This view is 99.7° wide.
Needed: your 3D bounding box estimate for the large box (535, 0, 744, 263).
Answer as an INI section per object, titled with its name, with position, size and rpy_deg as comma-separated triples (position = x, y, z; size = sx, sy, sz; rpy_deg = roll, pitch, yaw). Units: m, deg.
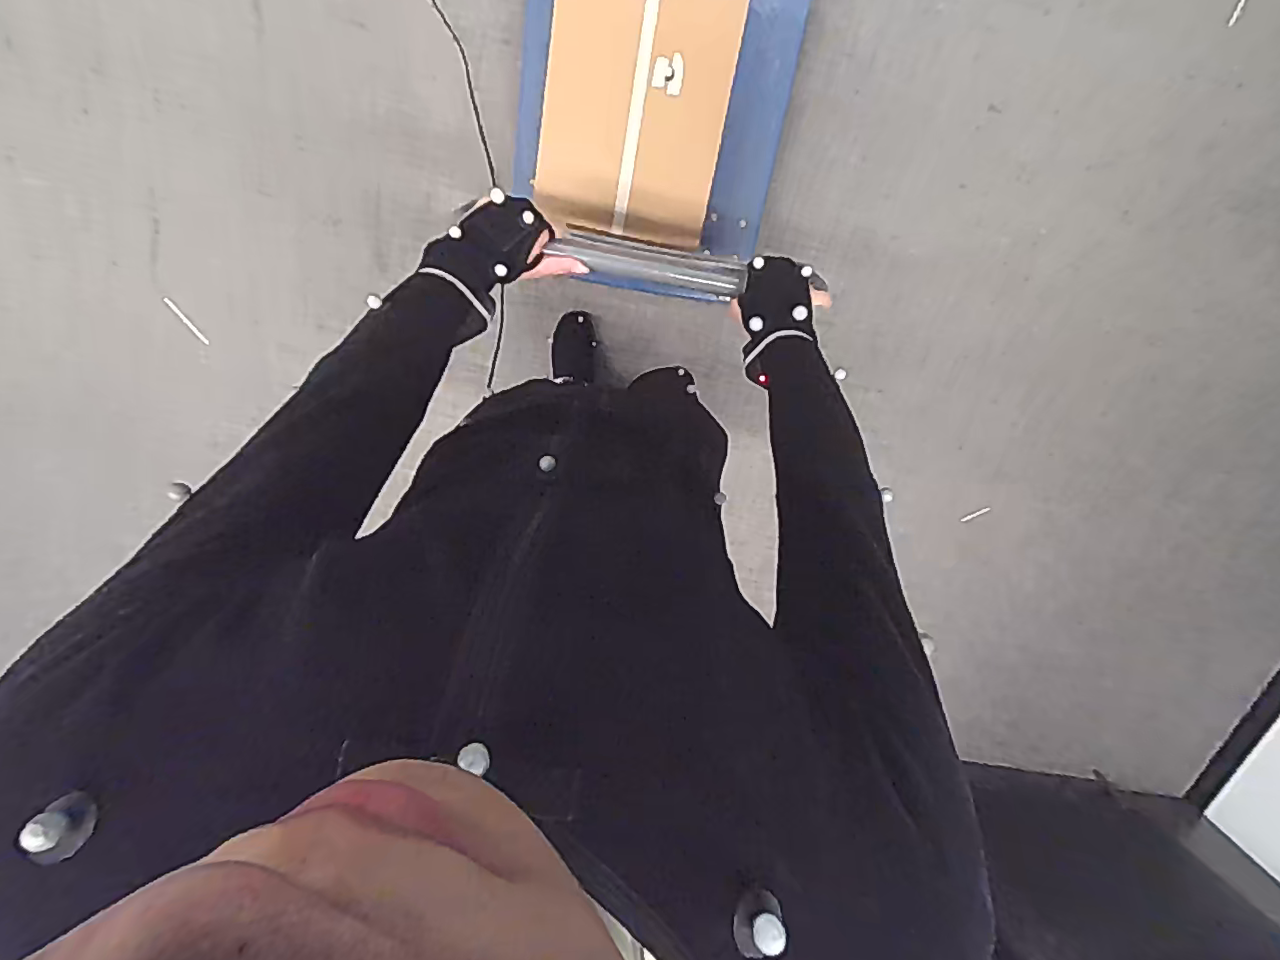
[large box]
position = -0.014, -0.677, 1.080
size = 0.320, 0.320, 0.408
rpy_deg = 9, 108, -6
